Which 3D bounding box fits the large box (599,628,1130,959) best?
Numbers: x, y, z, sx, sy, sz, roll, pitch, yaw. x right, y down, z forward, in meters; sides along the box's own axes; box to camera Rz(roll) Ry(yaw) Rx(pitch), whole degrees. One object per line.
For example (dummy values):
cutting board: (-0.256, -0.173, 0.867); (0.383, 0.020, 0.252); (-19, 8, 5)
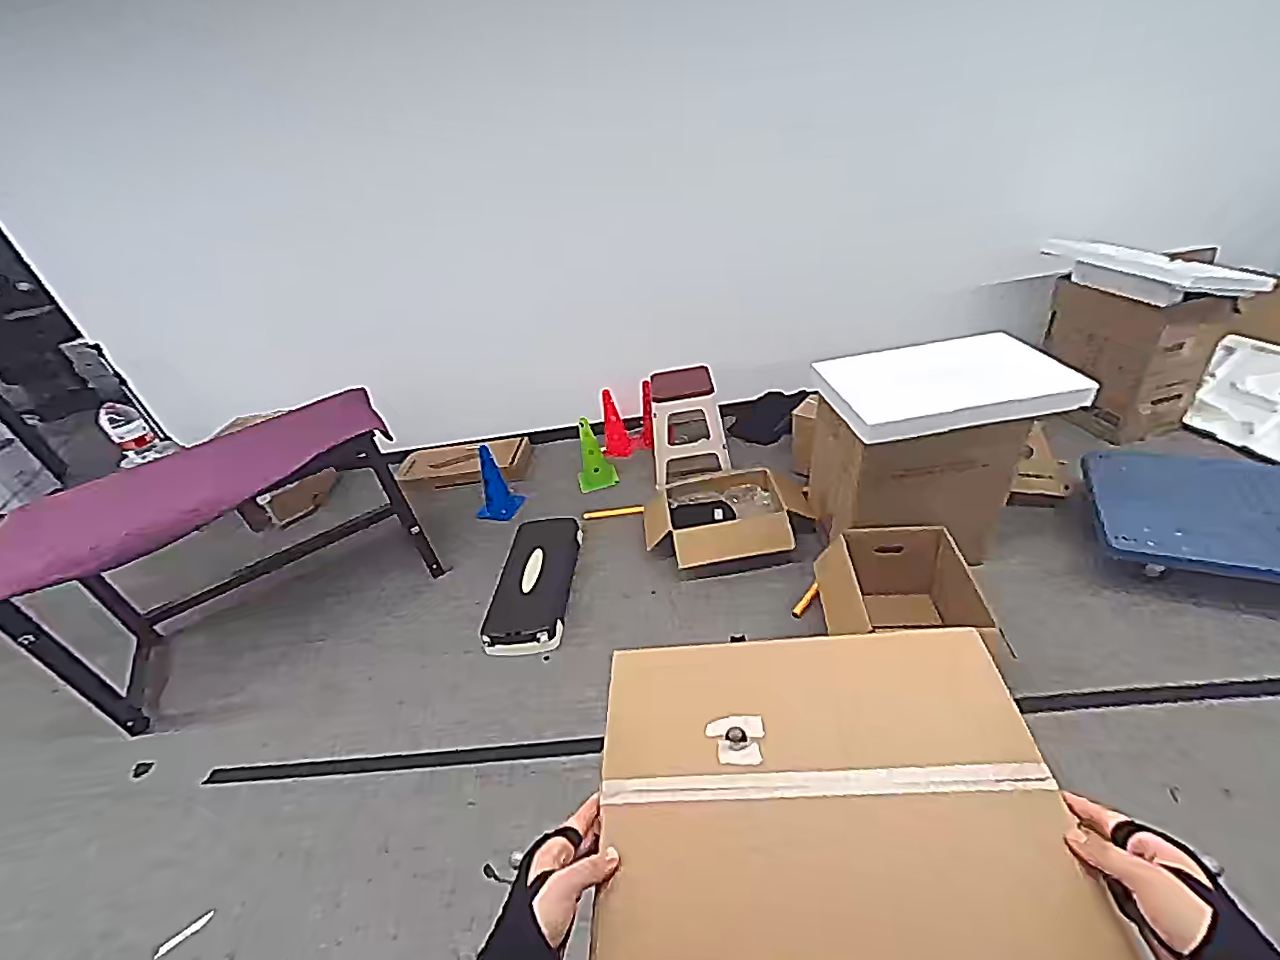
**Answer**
large box: (0.192, 0.403, 0.609); (0.408, 0.320, 0.320); (-8, 39, 8)
